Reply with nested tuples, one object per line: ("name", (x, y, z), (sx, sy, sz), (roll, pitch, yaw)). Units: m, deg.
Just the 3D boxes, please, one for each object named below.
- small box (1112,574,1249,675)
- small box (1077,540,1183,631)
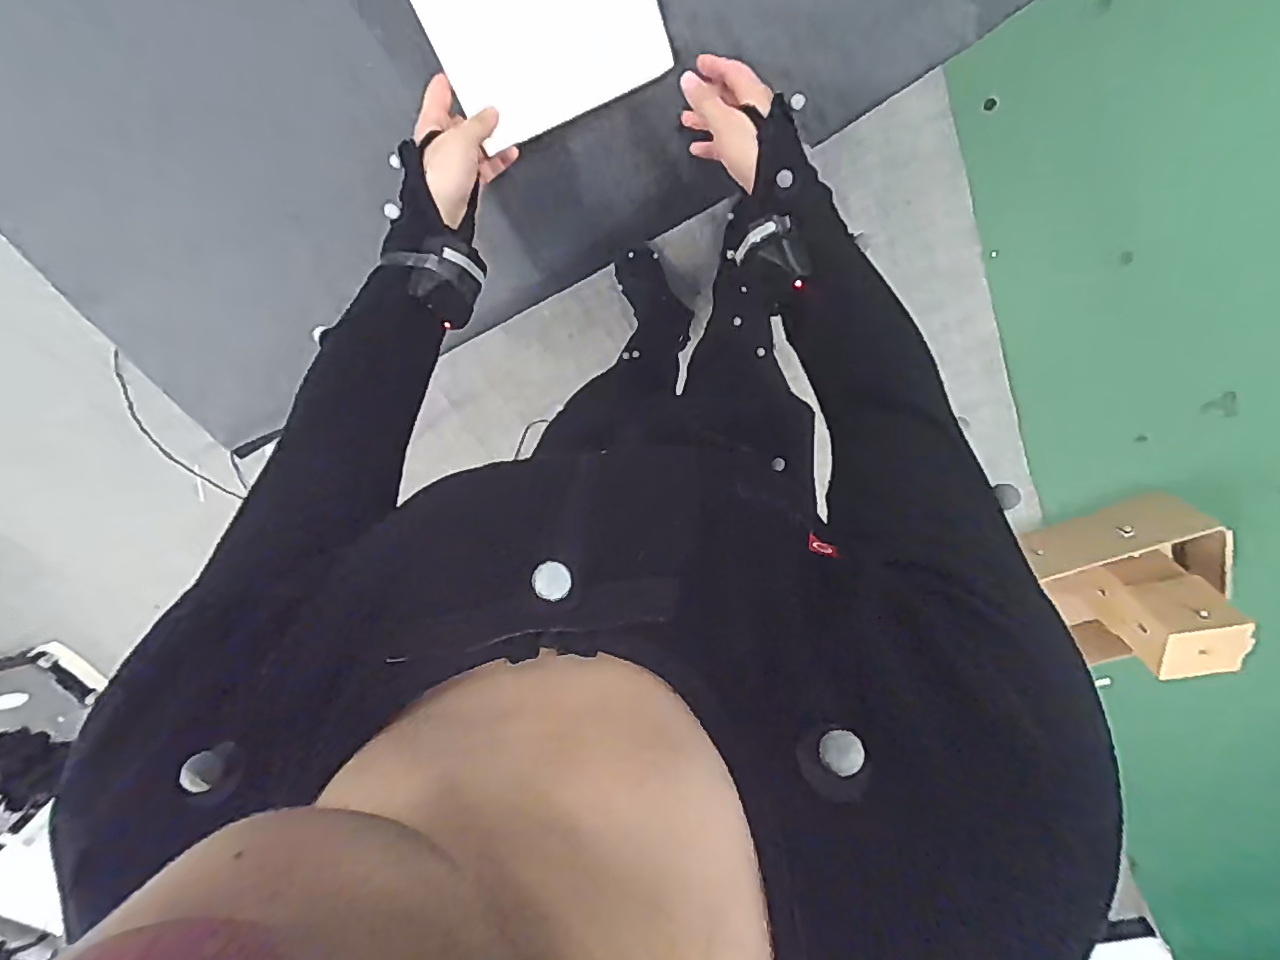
("small box", (1.350, 0.362, 1.367), (0.179, 0.176, 0.168), (-13, 119, 11))
("small box", (1.372, 0.294, 1.514), (0.168, 0.176, 0.179), (-9, 120, 9))
